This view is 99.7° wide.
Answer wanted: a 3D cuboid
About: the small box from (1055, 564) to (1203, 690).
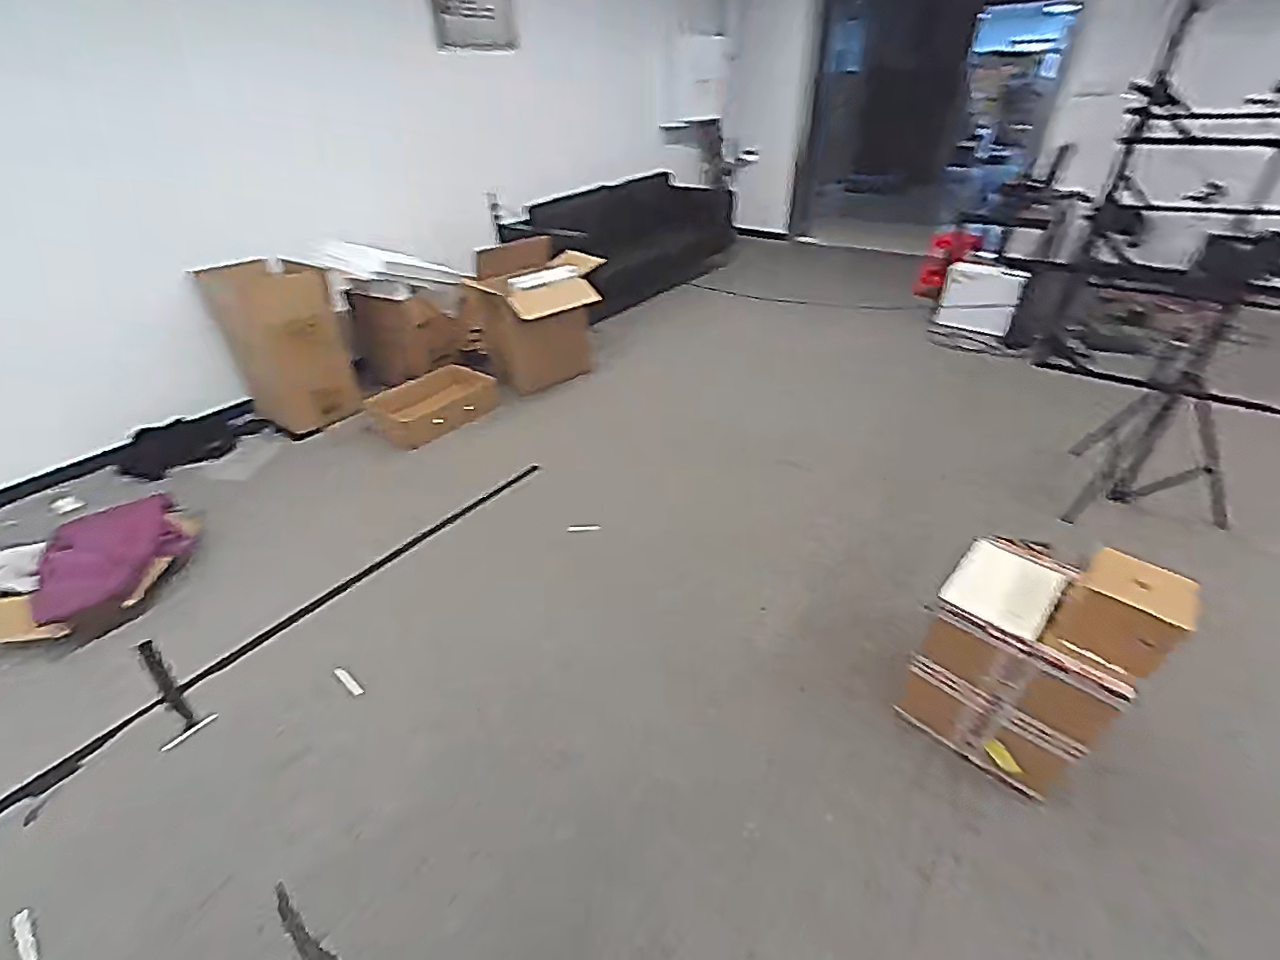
[{"bbox_3d":[1.050,0.322,1.169,0.179,0.176,0.168,28,47,33],"label":"small box"}]
